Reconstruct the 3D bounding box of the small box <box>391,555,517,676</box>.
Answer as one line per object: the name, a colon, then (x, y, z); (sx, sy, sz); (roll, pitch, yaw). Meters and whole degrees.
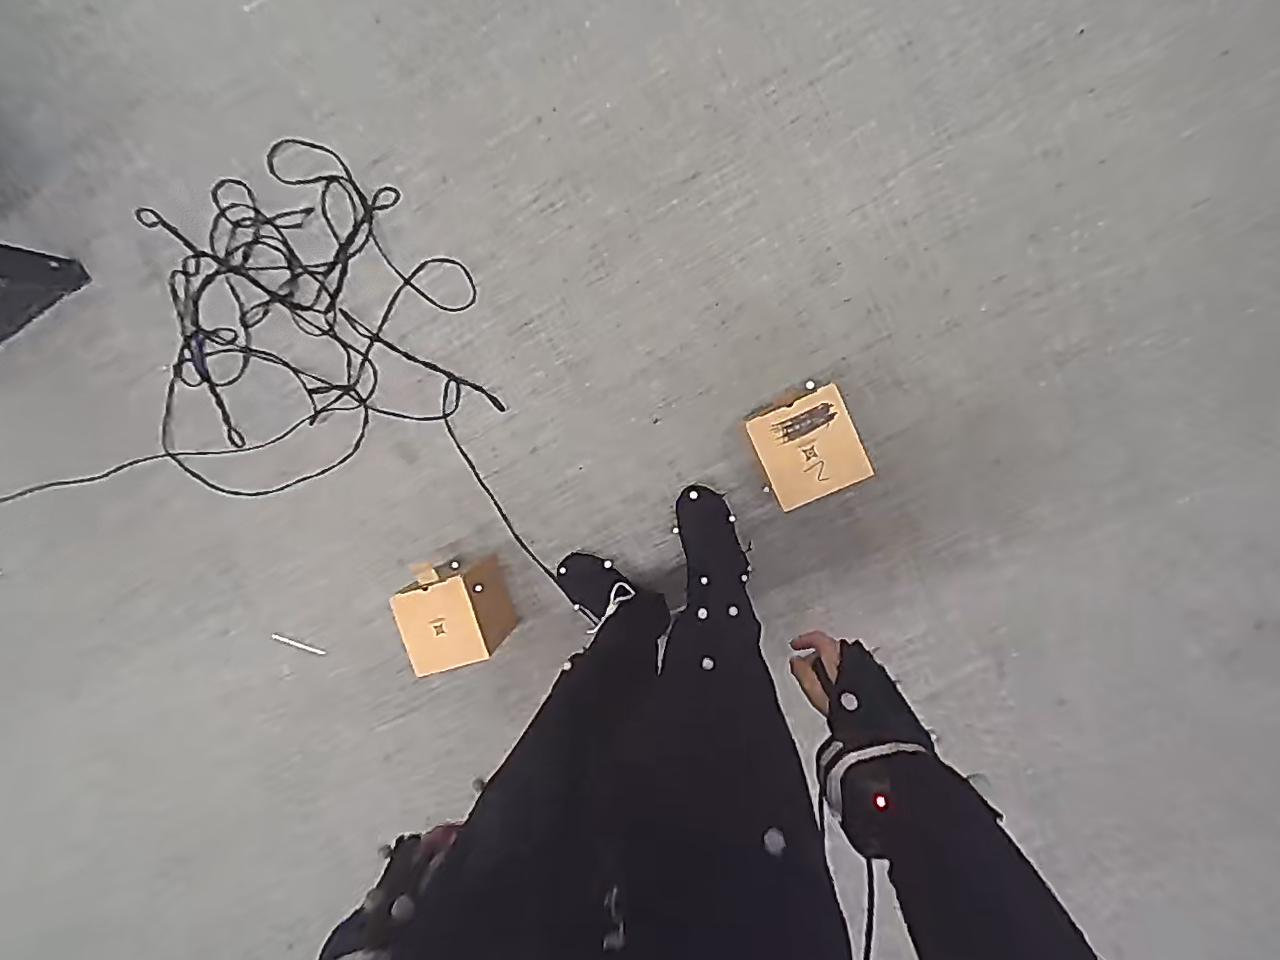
small box: (-0.379, 0.277, 1.134); (0.168, 0.176, 0.179); (-17, 94, 9)
